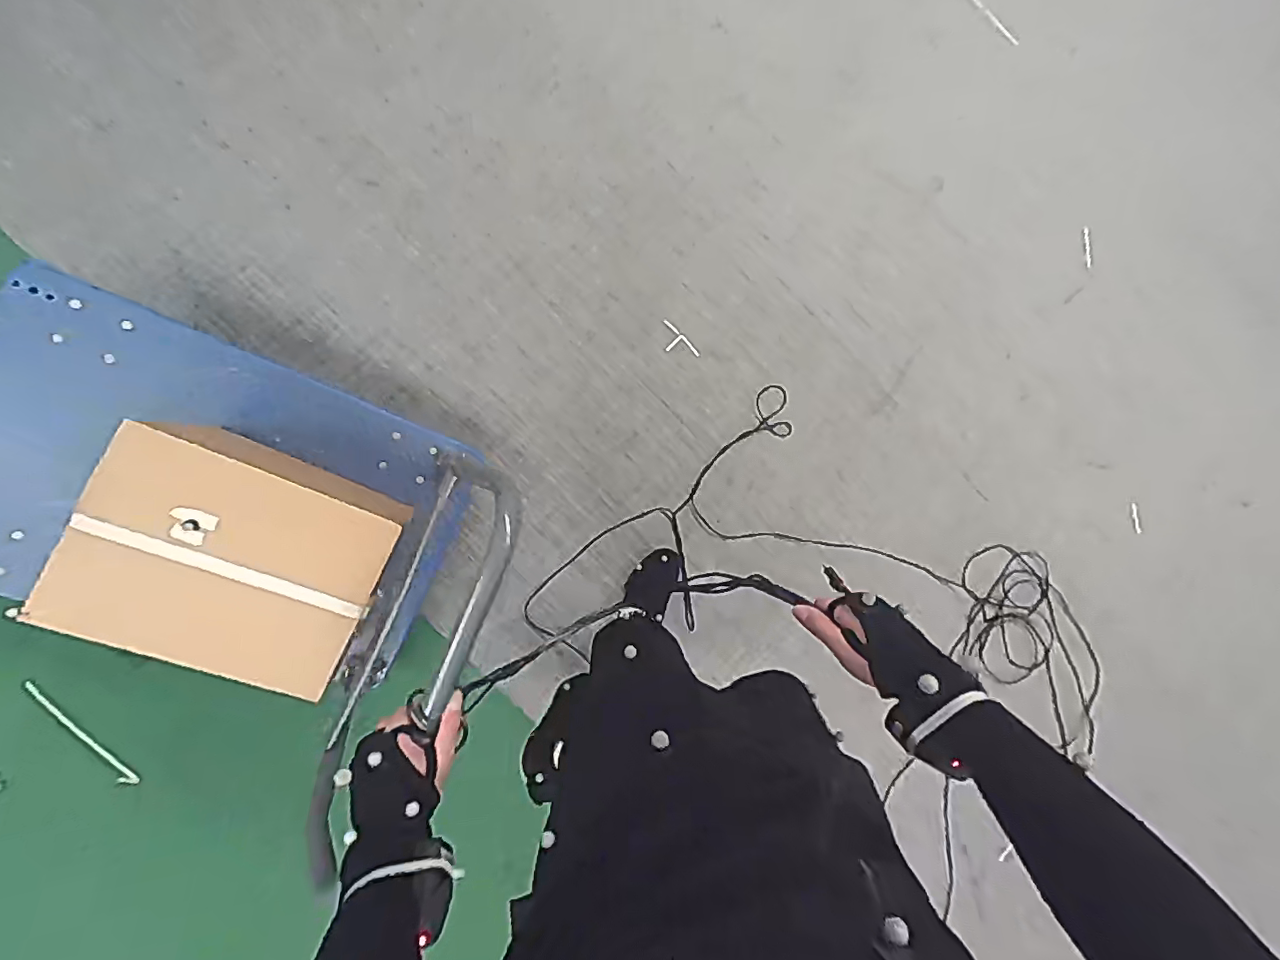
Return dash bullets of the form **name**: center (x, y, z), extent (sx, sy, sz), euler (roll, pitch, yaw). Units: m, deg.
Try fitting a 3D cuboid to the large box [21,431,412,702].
- **large box**: center (-0.675, 0.137, 0.962), extent (0.408, 0.320, 0.320), euler (25, 84, -18)
